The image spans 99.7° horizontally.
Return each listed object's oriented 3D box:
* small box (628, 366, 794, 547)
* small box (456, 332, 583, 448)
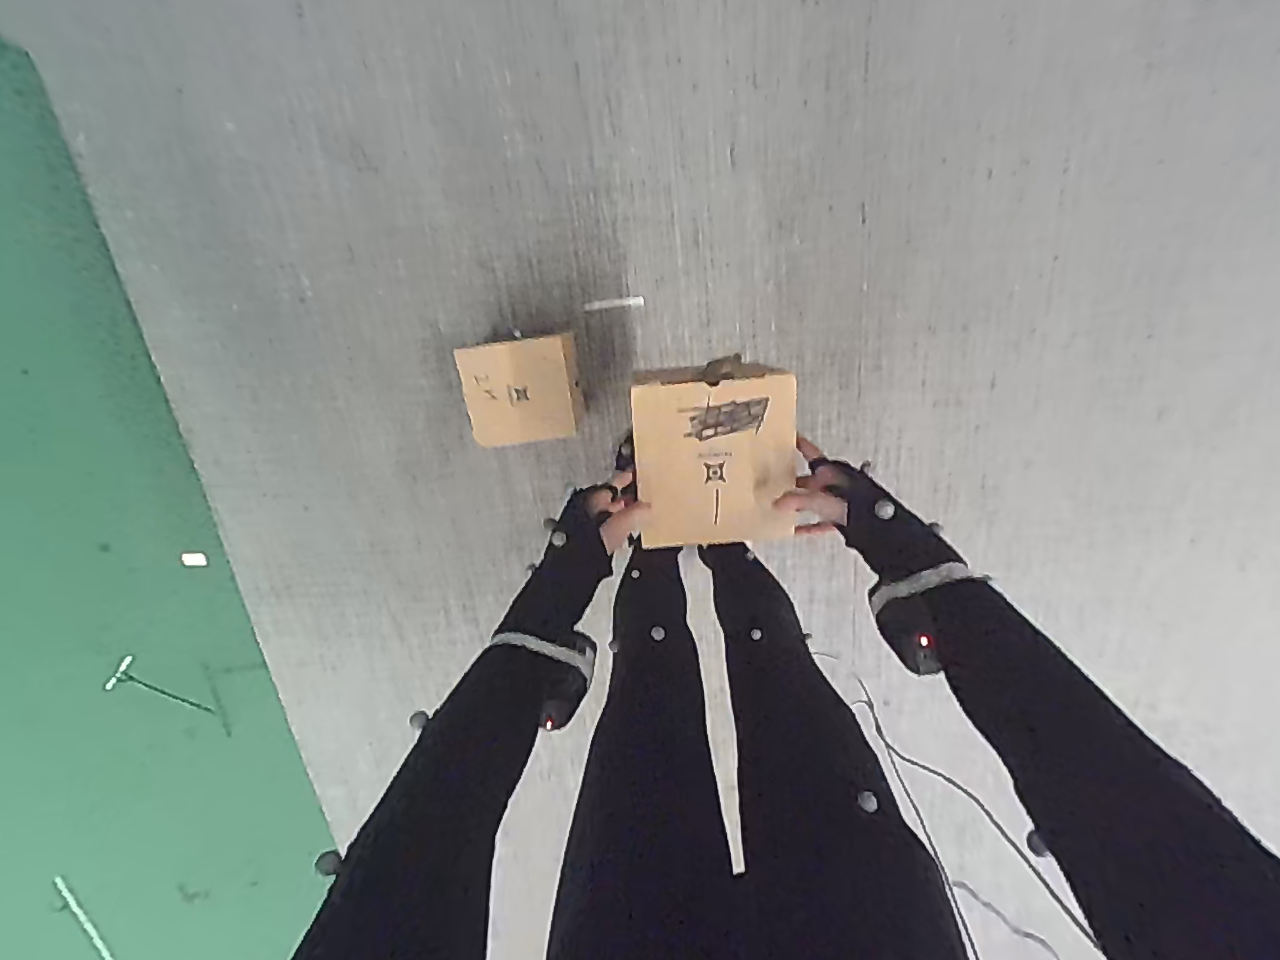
[{"bbox_3d":[0.072,-0.038,0.625,0.168,0.176,0.179,-4,106,1],"label":"small box"},{"bbox_3d":[-0.200,-0.166,0.960,0.179,0.176,0.168,-6,108,4],"label":"small box"}]
